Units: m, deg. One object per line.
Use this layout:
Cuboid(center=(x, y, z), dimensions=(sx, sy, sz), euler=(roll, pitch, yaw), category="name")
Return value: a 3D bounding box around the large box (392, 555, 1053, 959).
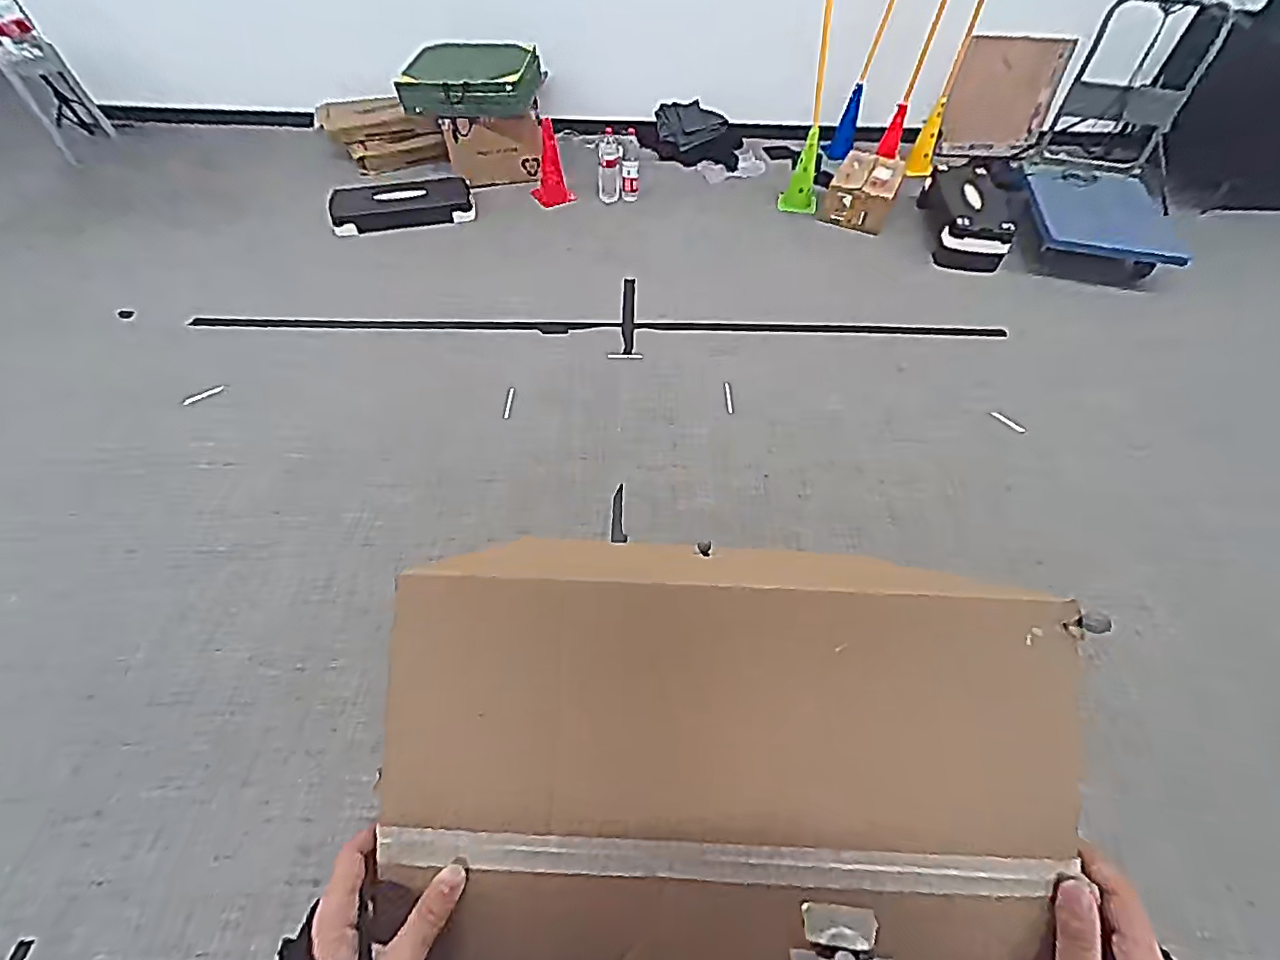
Cuboid(center=(0.048, 0.231, 0.477), dimensions=(0.408, 0.320, 0.320), euler=(2, 88, 0), category="large box")
